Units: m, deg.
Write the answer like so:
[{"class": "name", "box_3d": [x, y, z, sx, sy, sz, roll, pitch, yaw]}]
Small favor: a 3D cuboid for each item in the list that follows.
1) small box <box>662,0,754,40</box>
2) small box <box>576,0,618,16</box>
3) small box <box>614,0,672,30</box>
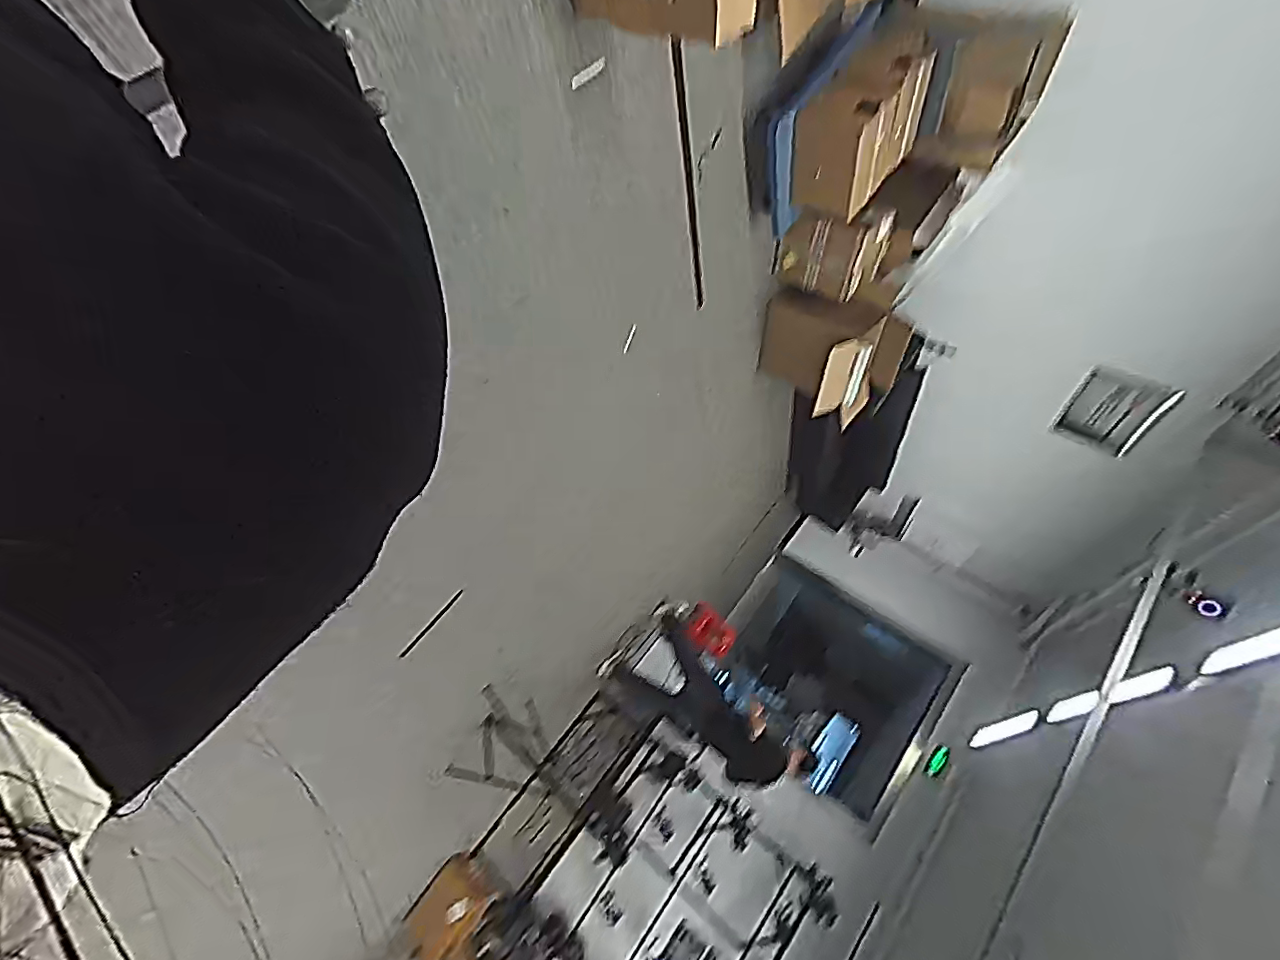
[{"class": "small box", "box_3d": [0.162, -1.201, 1.294, 0.168, 0.176, 0.179, -46, 153, -22]}, {"class": "small box", "box_3d": [-0.075, -1.376, 1.440, 0.179, 0.176, 0.168, -49, 153, -18]}, {"class": "small box", "box_3d": [0.039, -1.282, 1.367, 0.168, 0.176, 0.179, -47, 153, -19]}]
